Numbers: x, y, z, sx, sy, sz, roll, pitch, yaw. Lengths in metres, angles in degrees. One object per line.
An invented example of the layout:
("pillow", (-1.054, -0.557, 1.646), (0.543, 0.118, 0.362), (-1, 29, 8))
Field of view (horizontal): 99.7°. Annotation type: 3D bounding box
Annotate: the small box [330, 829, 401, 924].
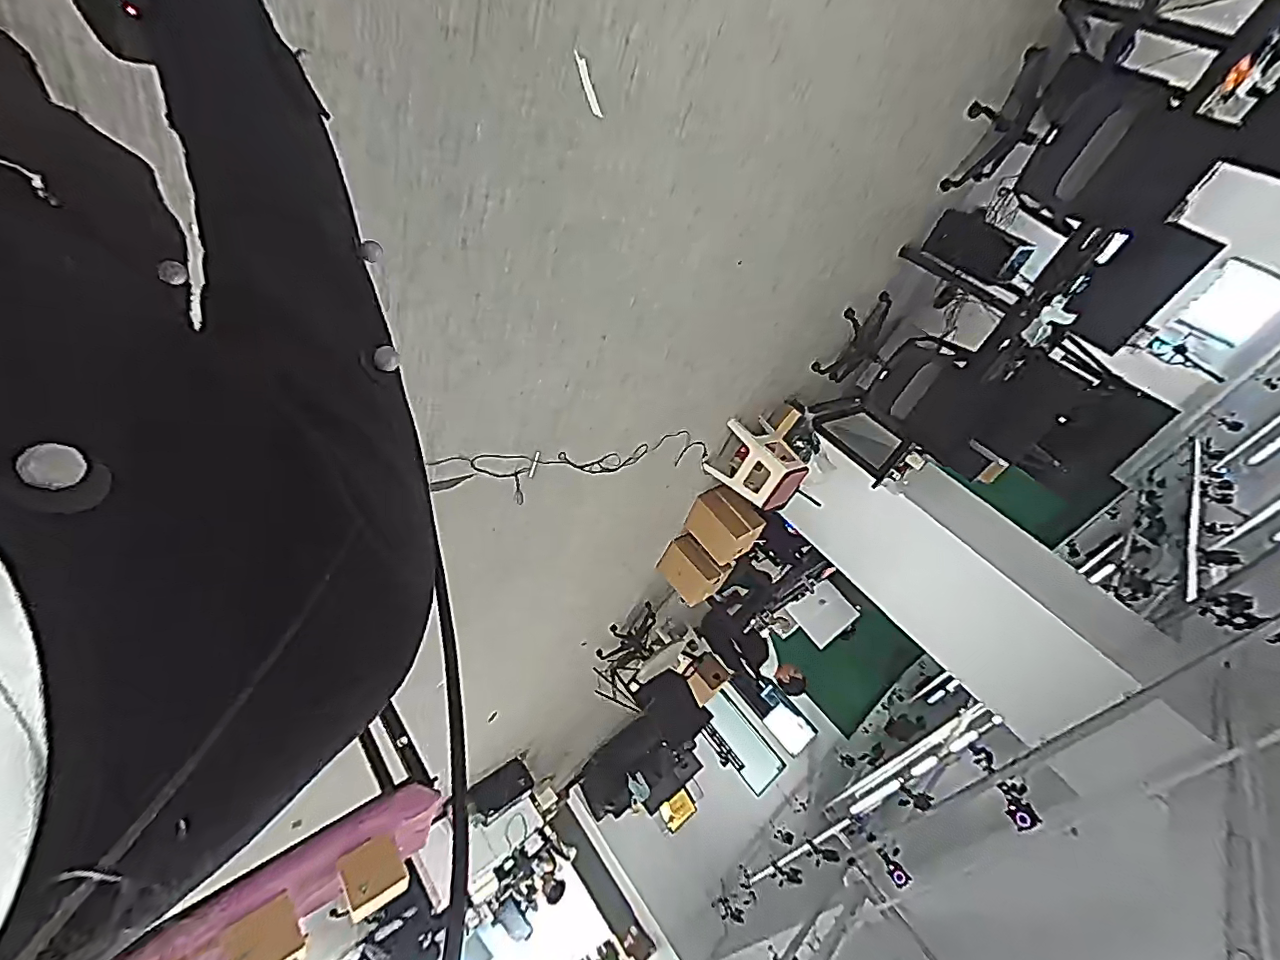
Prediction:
("small box", (-0.915, 1.310, 1.794), (0.179, 0.176, 0.168), (-16, 144, -39))
